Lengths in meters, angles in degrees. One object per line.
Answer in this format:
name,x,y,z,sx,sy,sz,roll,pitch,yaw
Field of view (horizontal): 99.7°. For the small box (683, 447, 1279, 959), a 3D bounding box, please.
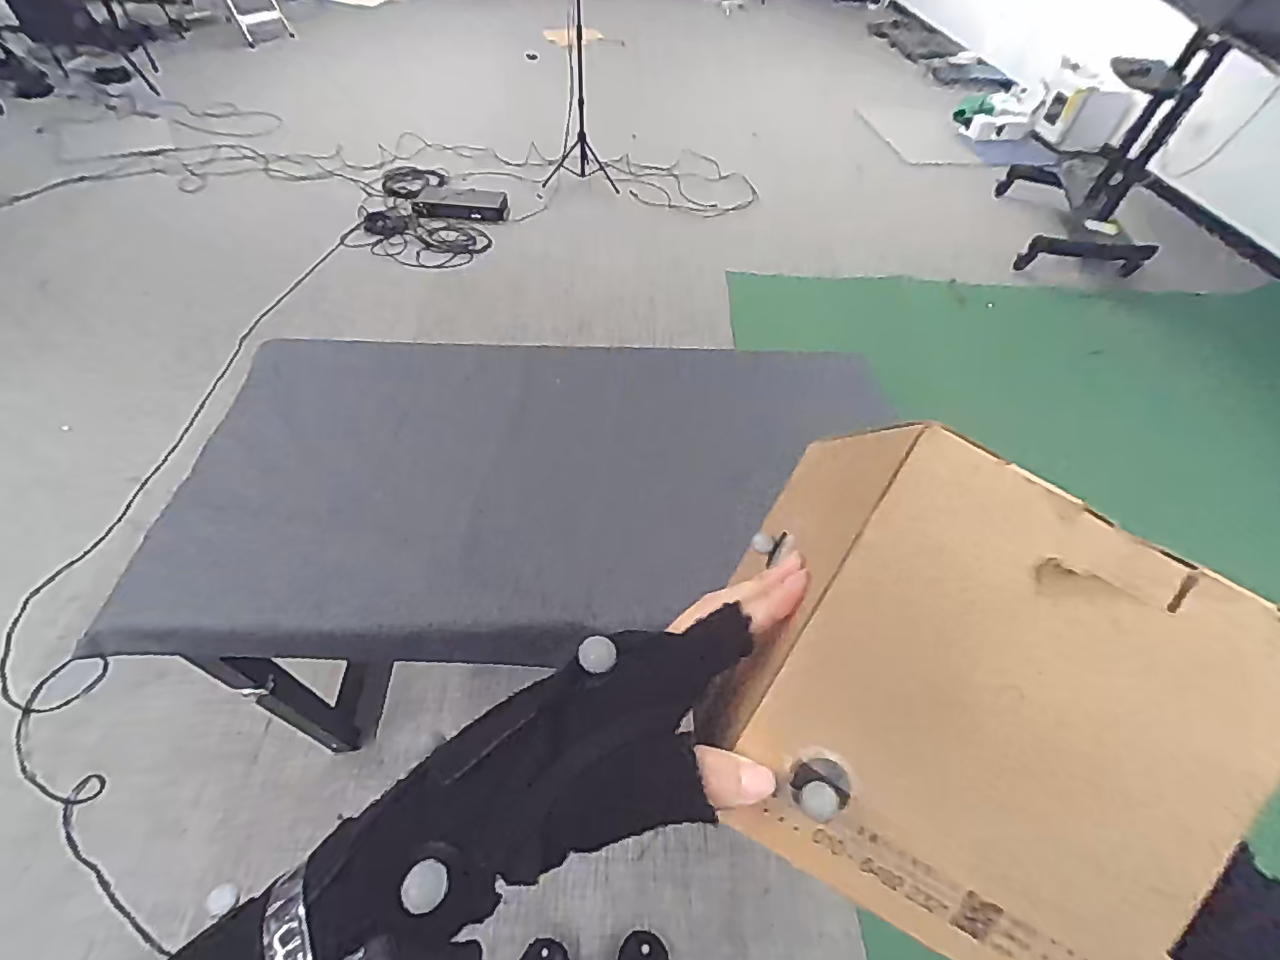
small box,0.133,0.096,0.288,0.168,0.179,0.176,31,94,3
